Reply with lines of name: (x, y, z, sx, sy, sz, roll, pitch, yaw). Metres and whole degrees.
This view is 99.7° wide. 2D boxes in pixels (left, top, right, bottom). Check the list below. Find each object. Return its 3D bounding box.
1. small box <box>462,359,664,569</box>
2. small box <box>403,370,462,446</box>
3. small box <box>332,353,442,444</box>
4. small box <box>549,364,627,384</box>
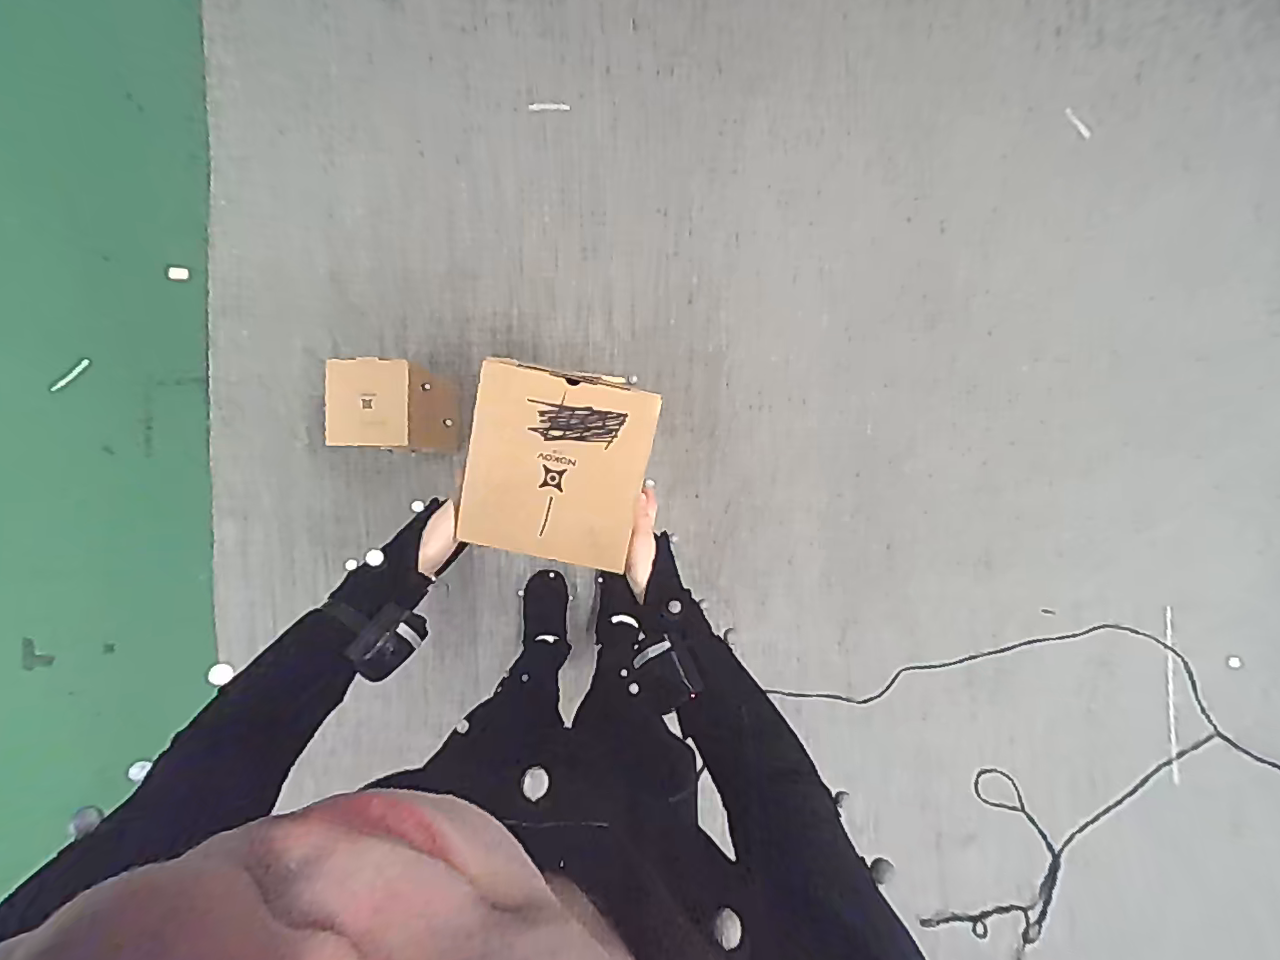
small box: (-0.076, -0.028, 0.590, 0.168, 0.176, 0.179, 12, 102, -2)
small box: (-0.546, -0.176, 1.330, 0.168, 0.176, 0.179, 3, 92, -2)
small box: (-0.538, -0.170, 1.168, 0.168, 0.176, 0.179, 0, 92, -1)
small box: (-0.121, -0.144, 1.181, 0.168, 0.176, 0.179, 7, 92, -2)
